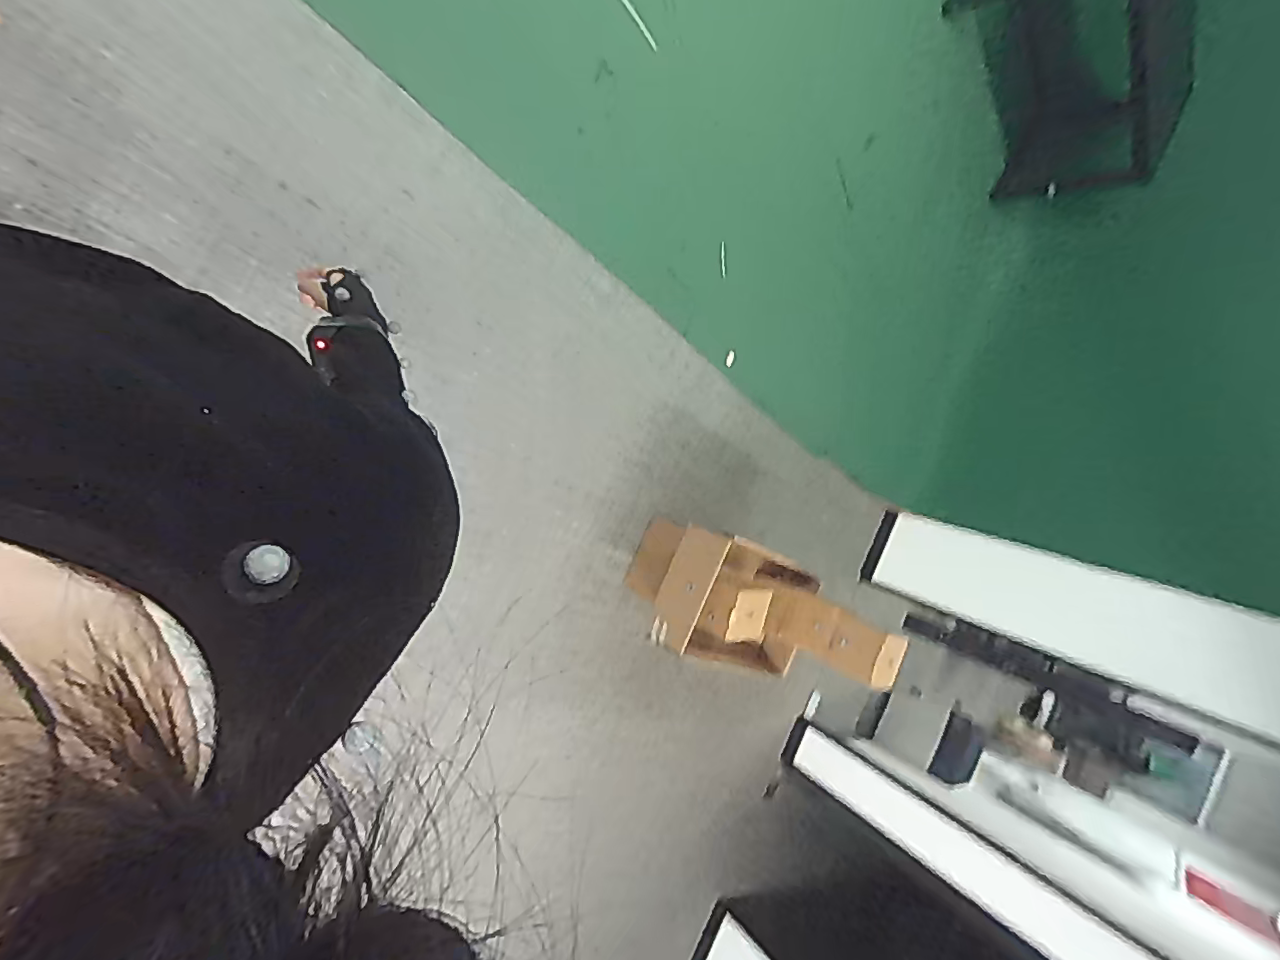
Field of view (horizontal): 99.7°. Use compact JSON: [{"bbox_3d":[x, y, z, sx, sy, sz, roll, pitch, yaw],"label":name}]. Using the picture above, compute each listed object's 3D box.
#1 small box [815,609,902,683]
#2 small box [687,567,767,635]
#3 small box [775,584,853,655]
[{"bbox_3d":[0.686,0.519,1.699,0.179,0.176,0.168,24,87,-41],"label":"small box"},{"bbox_3d":[0.278,0.390,1.759,0.179,0.176,0.168,9,99,-42],"label":"small box"},{"bbox_3d":[0.578,0.472,1.815,0.168,0.176,0.179,21,89,-42],"label":"small box"}]
